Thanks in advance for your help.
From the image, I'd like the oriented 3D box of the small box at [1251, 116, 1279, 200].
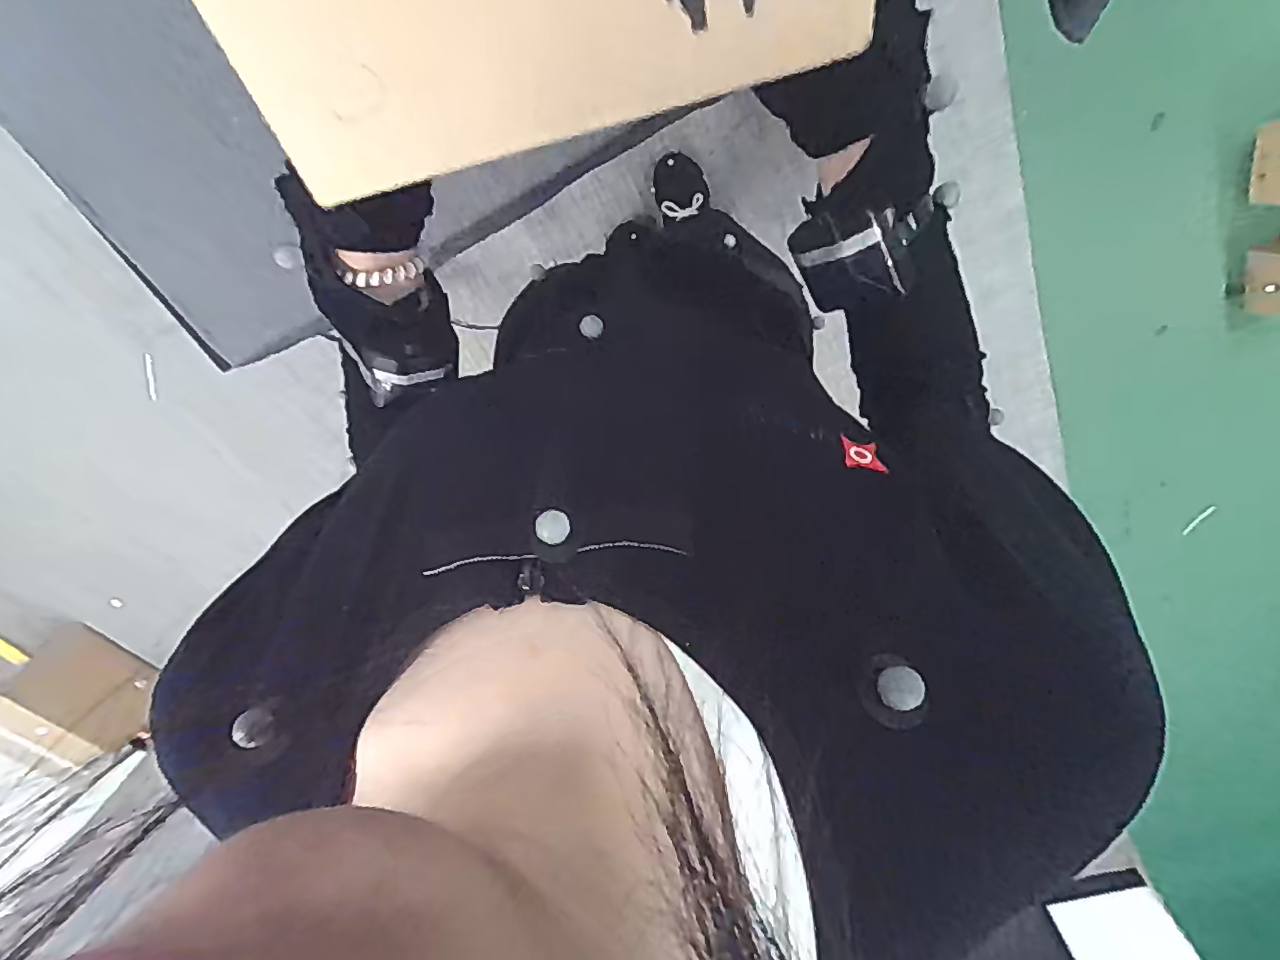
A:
[{"bbox_3d":[1.444,-0.694,1.119,0.179,0.176,0.168,-19,116,11],"label":"small box"}]
